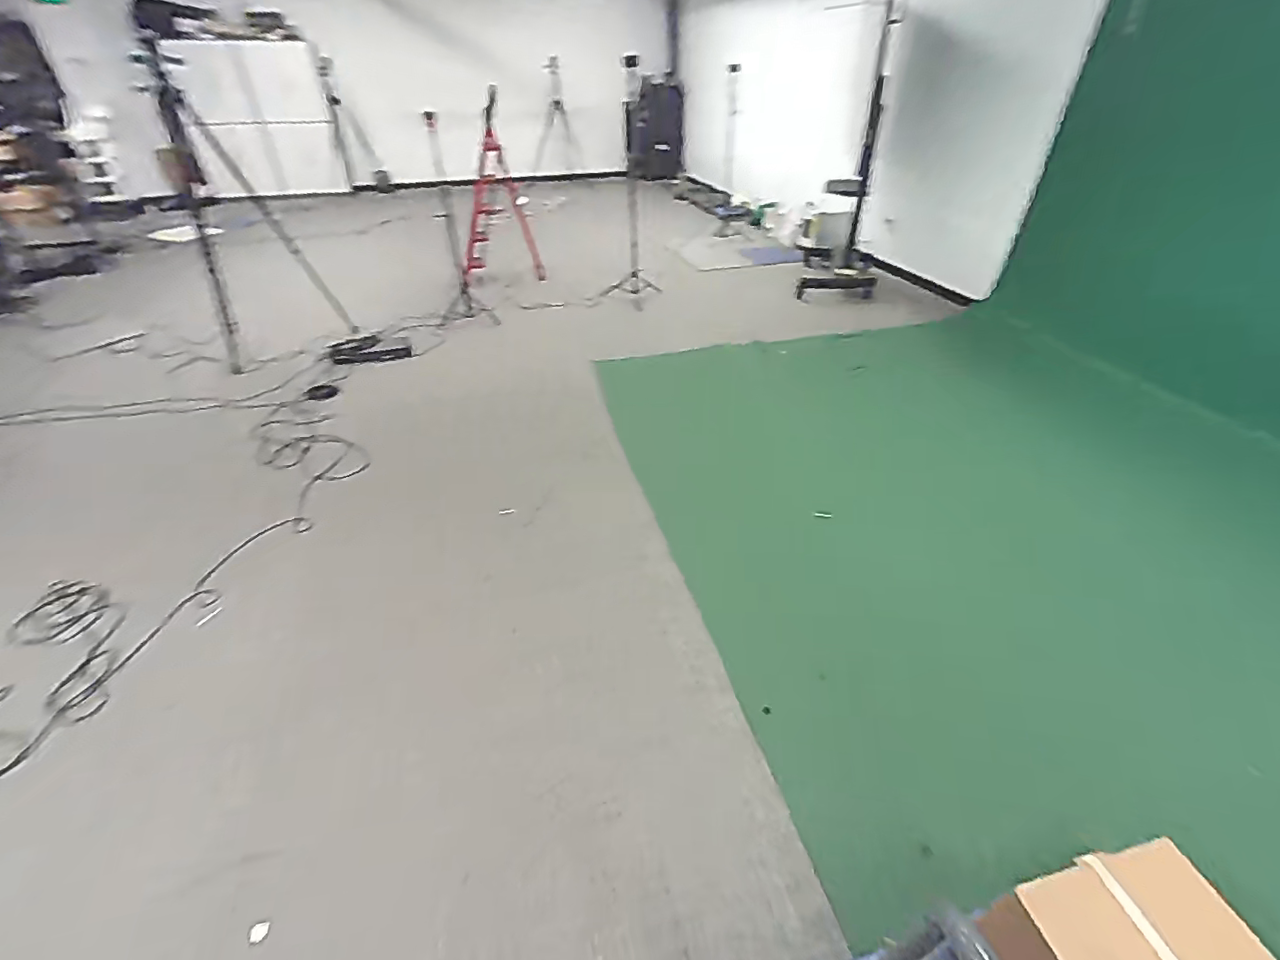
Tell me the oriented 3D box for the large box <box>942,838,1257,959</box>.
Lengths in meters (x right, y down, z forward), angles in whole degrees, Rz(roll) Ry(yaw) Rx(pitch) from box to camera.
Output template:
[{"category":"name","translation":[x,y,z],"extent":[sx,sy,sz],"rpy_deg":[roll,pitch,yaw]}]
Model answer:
[{"category":"large box","translation":[0.780,0.872,0.847],"extent":[0.320,0.320,0.408],"rpy_deg":[-8,39,-10]}]
